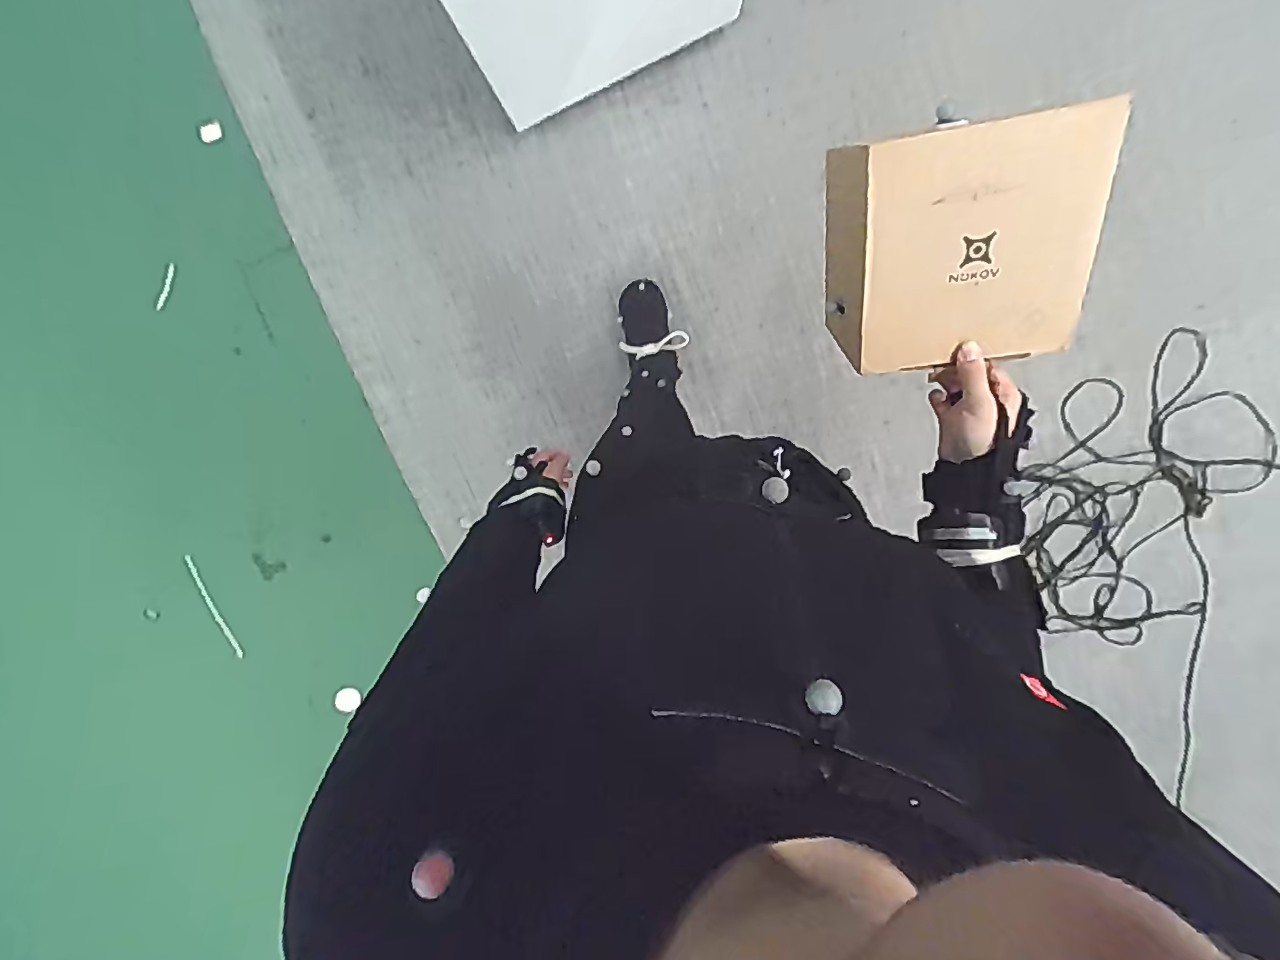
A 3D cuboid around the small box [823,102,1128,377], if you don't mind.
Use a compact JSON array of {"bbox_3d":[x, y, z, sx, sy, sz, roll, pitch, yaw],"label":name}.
[{"bbox_3d":[0.263,-0.209,0.478,0.168,0.176,0.179,-6,119,9],"label":"small box"}]
